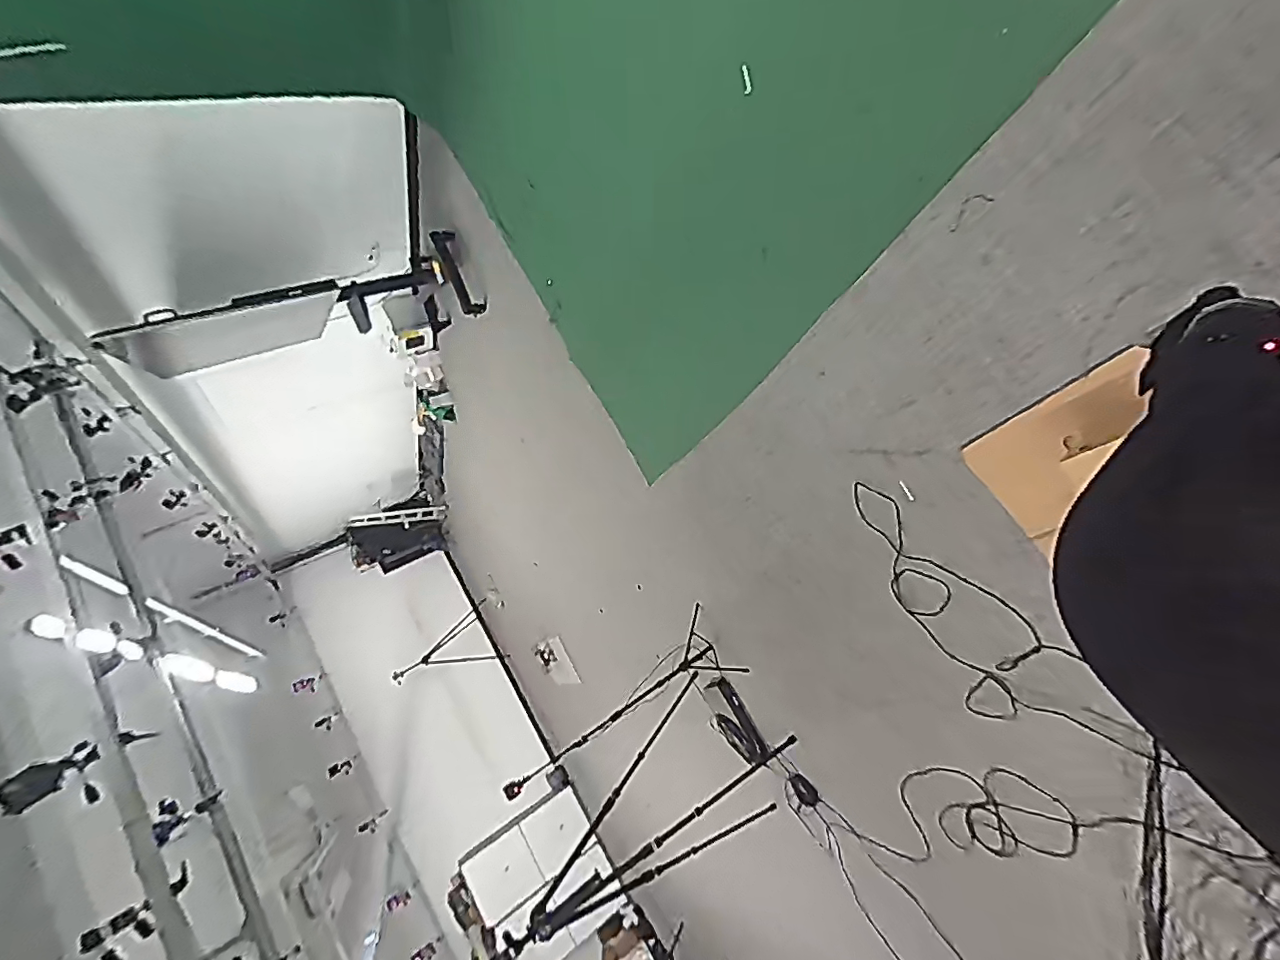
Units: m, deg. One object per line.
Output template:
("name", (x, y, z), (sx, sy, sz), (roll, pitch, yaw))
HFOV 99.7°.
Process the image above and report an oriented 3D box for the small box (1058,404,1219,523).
("small box", (1.060, -0.035, 1.152), (0.168, 0.176, 0.179), (58, 149, 9))
